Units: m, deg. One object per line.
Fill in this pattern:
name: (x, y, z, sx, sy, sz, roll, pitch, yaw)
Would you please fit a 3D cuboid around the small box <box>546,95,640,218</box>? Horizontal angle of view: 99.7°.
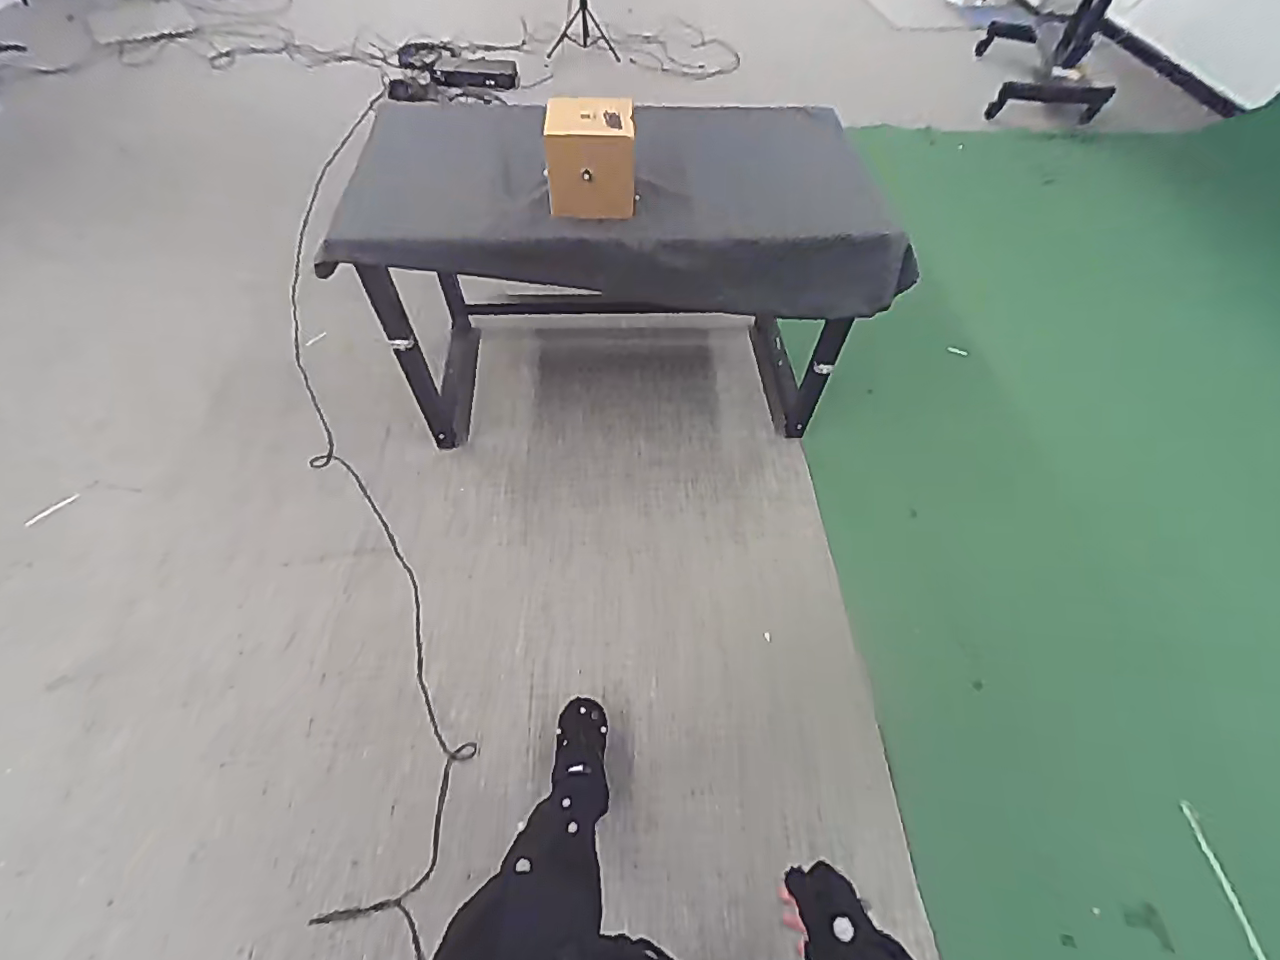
small box: (-0.093, -0.676, 1.138, 0.179, 0.176, 0.168, 3, 54, -1)
